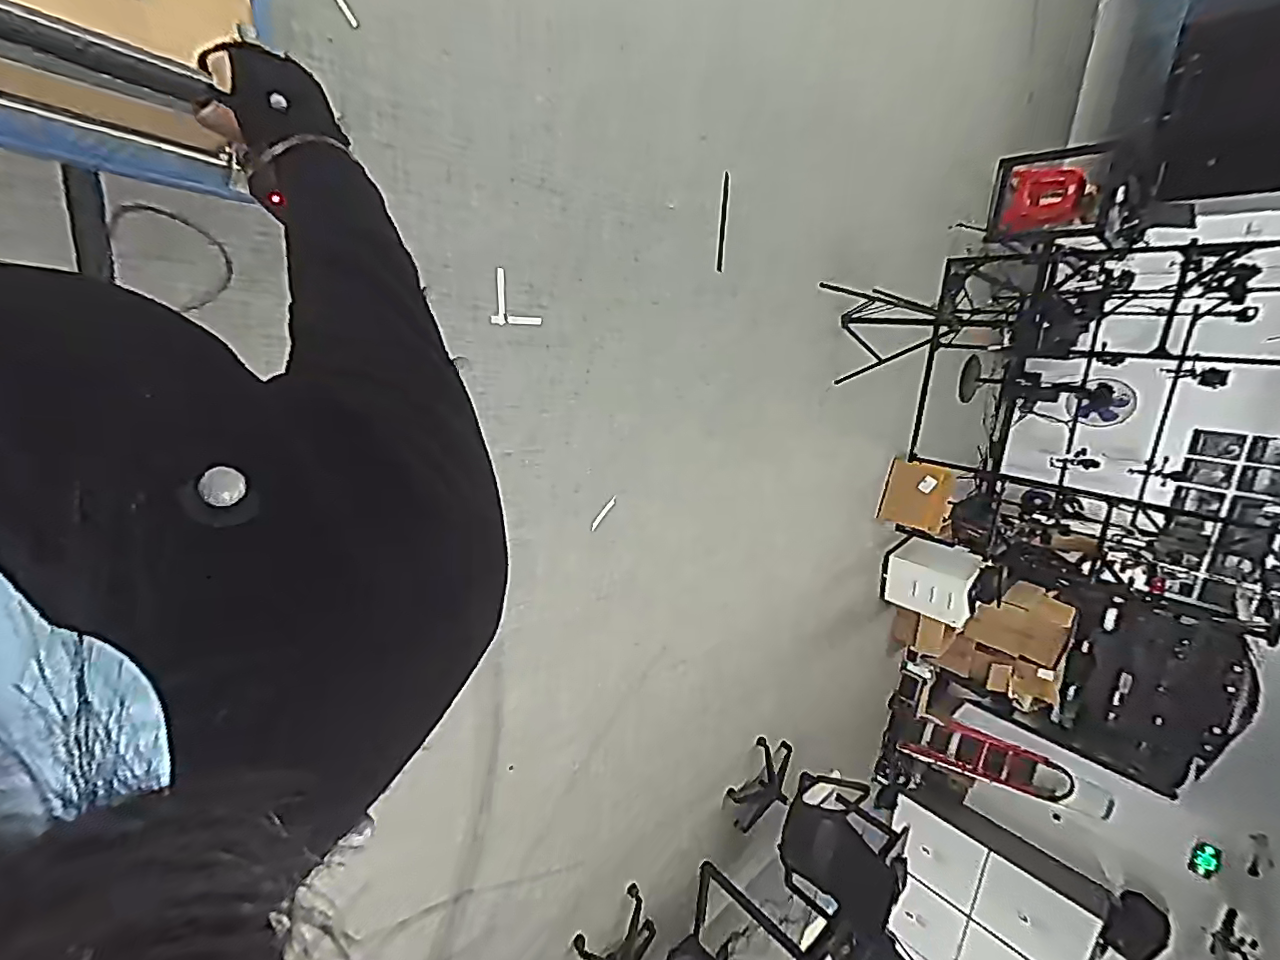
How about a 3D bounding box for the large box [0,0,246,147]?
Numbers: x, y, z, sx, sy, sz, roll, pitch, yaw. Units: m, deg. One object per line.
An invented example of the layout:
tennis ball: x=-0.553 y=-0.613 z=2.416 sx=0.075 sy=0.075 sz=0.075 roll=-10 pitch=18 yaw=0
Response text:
large box: x=-0.807 y=-0.706 z=0.722 sx=0.408 sy=0.320 sz=0.320 roll=-5 pitch=108 yaw=-45
